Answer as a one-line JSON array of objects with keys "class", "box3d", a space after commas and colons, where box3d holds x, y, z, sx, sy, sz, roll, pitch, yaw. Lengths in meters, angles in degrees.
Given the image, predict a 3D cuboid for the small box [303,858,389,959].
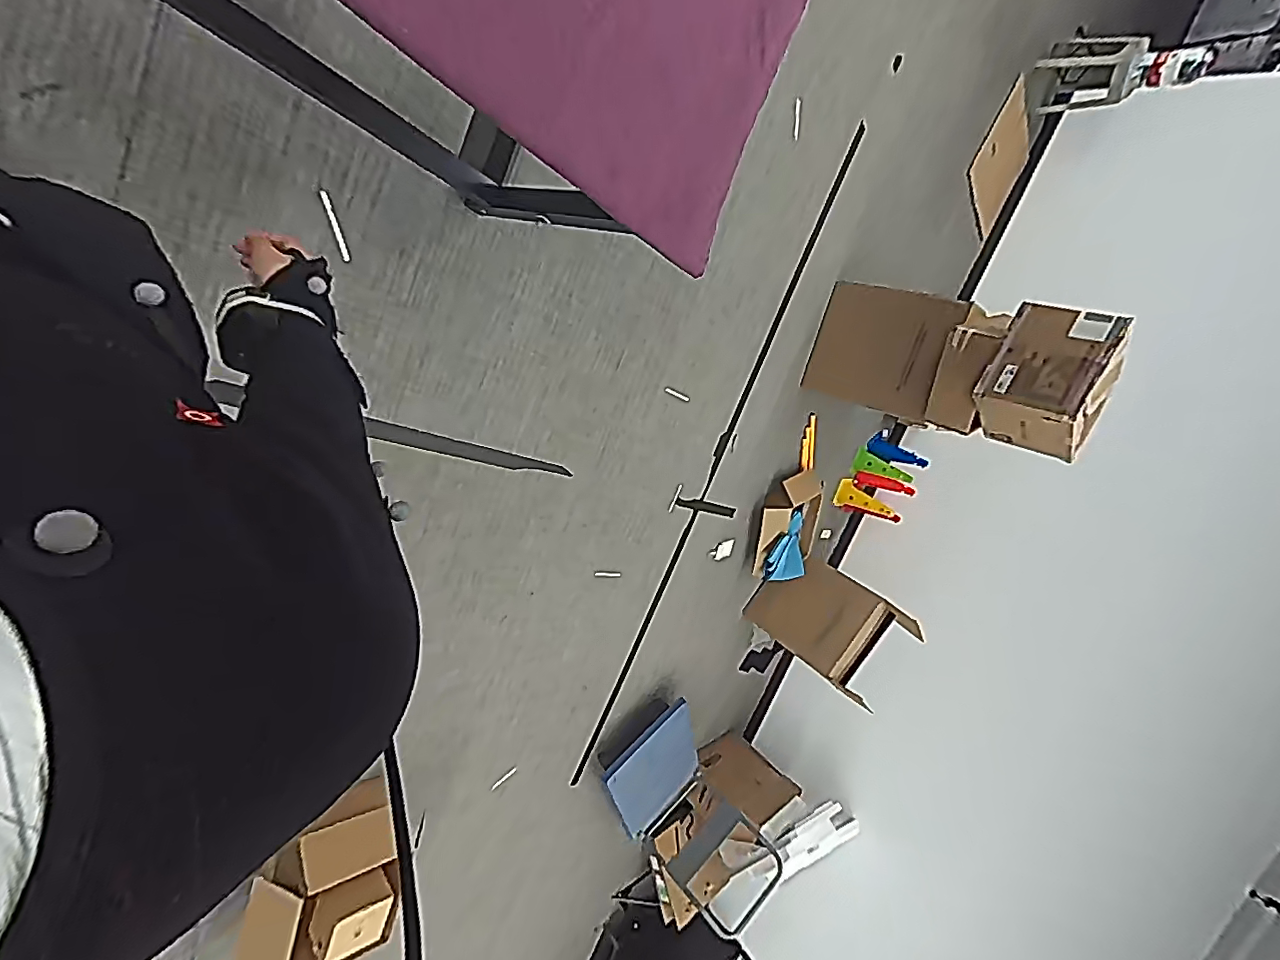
[{"class": "small box", "box3d": [-0.883, 1.291, 1.614, 0.168, 0.176, 0.179, 9, 105, -49]}]
